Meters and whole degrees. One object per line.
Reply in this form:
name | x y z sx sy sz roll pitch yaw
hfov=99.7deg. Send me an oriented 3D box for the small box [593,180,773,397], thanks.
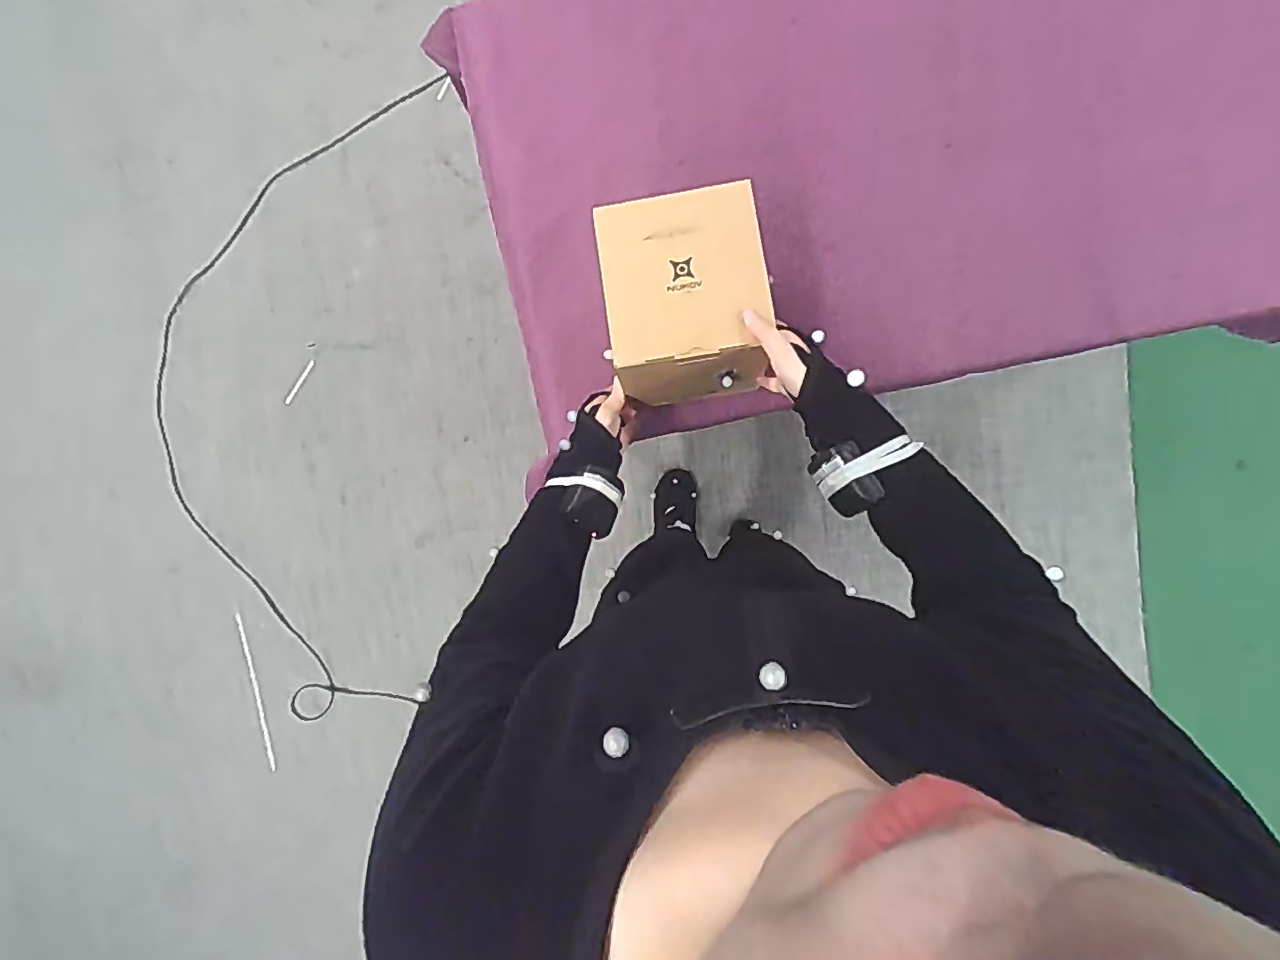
small box | 0.048 -0.202 0.624 0.168 0.176 0.179 -8 83 3
